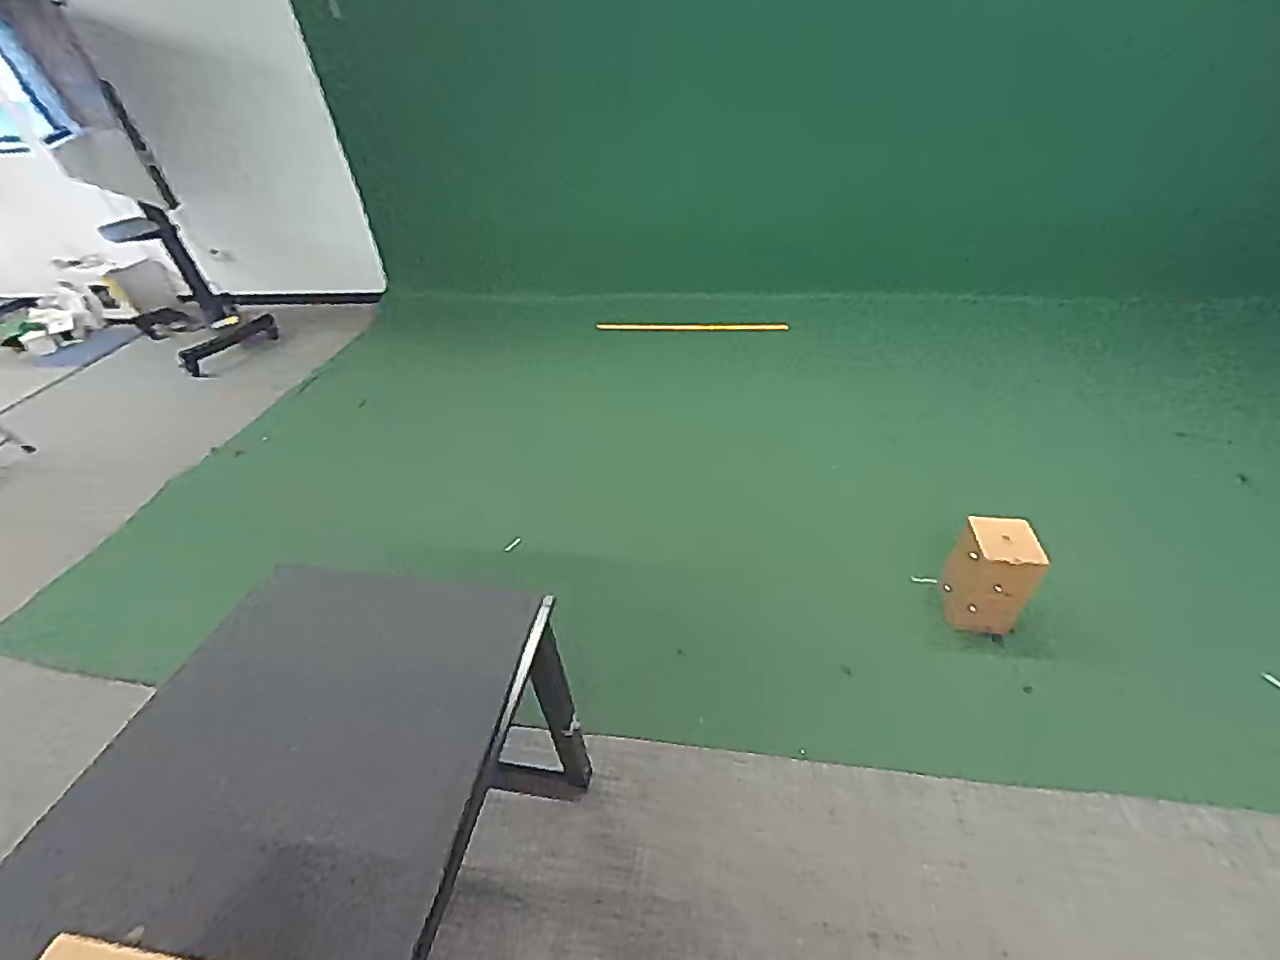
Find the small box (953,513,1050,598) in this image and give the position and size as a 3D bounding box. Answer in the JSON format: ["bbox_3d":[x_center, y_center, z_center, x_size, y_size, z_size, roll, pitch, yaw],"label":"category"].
[{"bbox_3d":[1.054,0.221,1.595,0.168,0.176,0.179,3,40,9],"label":"small box"}]

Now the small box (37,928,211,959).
[{"bbox_3d":[-0.474,0.543,0.492,0.179,0.176,0.168,2,41,9],"label":"small box"}]
